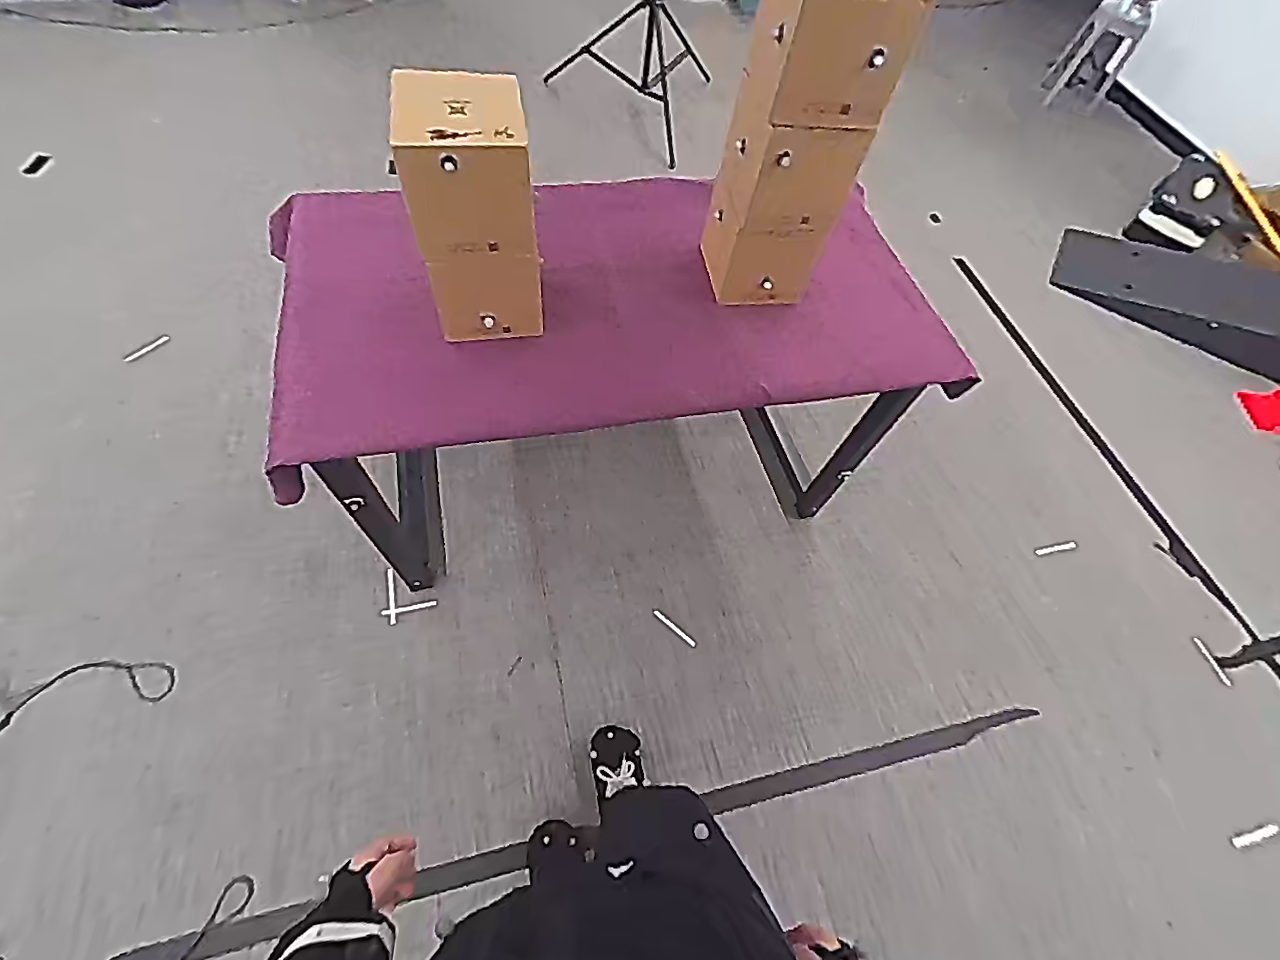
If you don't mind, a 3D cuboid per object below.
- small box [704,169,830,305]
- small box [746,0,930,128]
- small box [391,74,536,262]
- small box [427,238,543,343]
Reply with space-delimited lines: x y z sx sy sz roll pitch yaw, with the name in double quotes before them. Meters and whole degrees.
"small box" 0.228 -0.456 1.022 0.168 0.176 0.179 -5 61 -8
"small box" 0.259 -0.611 0.737 0.168 0.176 0.179 -2 59 -9
"small box" -0.240 -0.435 0.765 0.168 0.176 0.179 -7 61 -10
"small box" -0.256 -0.355 0.907 0.168 0.176 0.179 -8 62 -11
